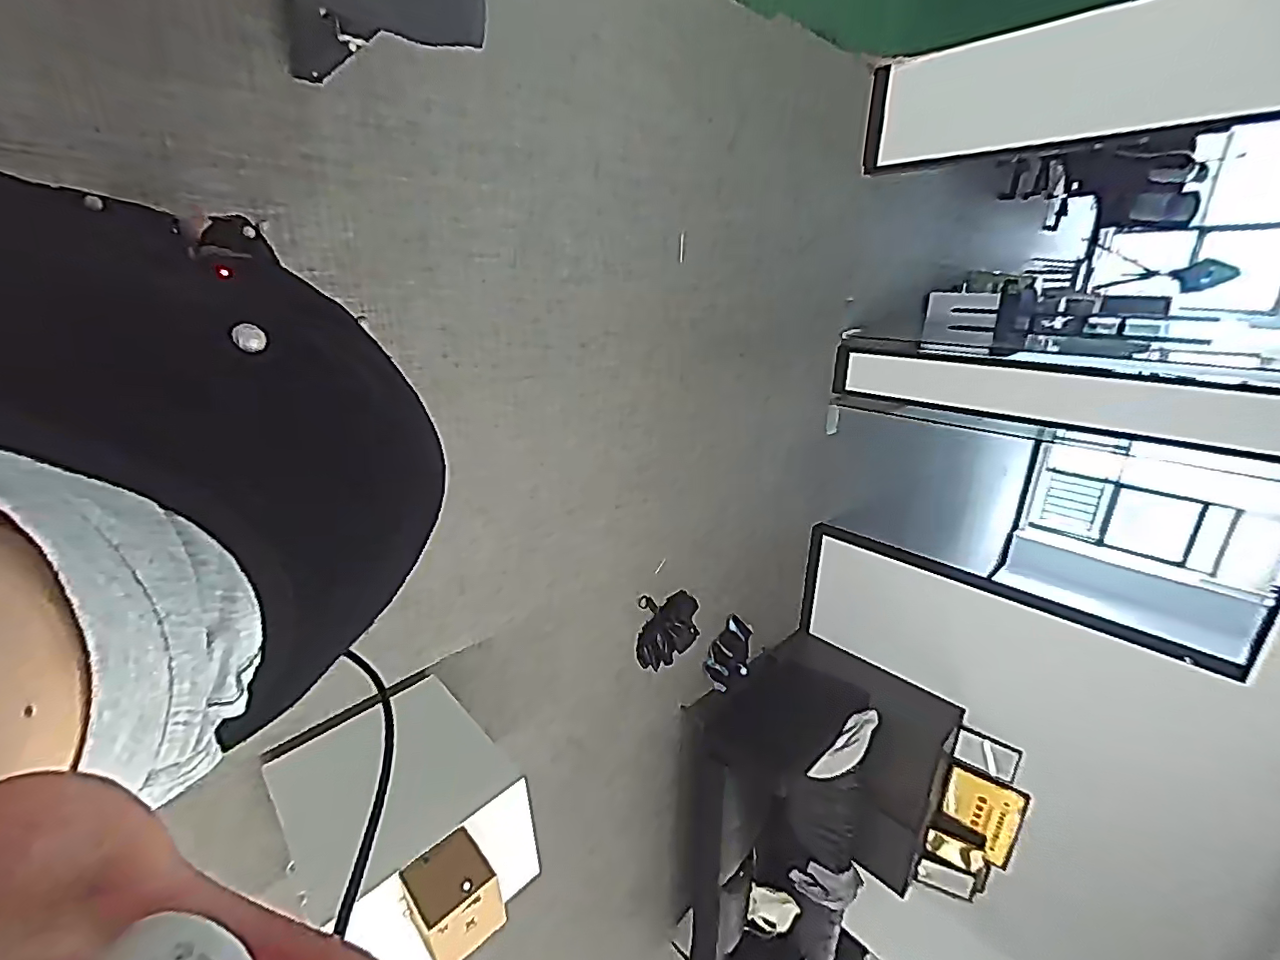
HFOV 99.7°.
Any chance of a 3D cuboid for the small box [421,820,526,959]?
[{"bbox_3d":[-0.392,0.958,1.277,0.168,0.176,0.179,-24,122,-39],"label":"small box"}]
